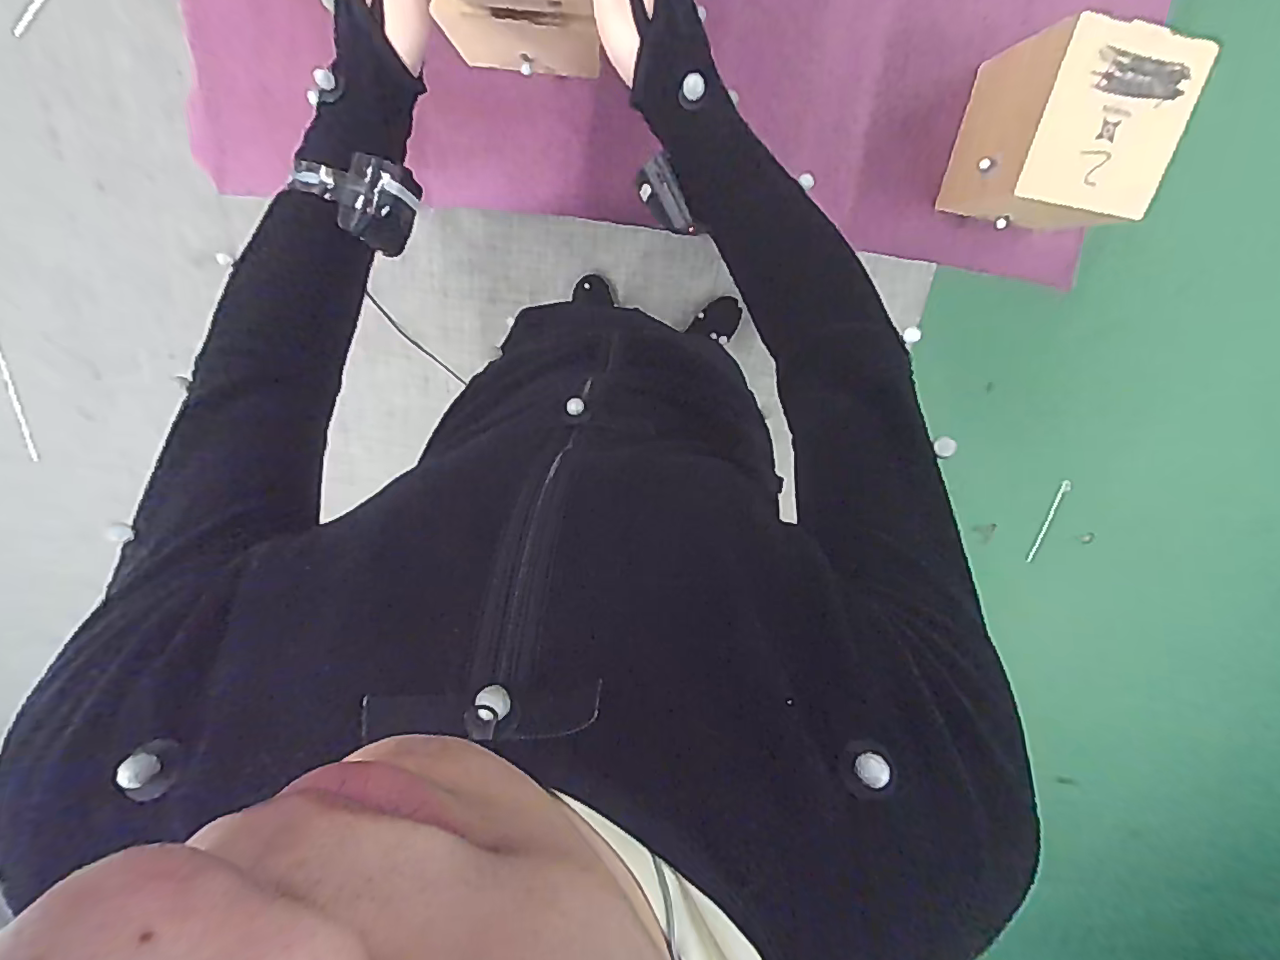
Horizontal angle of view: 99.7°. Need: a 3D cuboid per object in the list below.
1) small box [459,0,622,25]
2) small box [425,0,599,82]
[{"bbox_3d":[-0.089,-0.488,0.406,0.168,0.176,0.179,2,114,-4],"label":"small box"},{"bbox_3d":[-0.125,-0.562,0.577,0.168,0.176,0.179,3,113,-4],"label":"small box"}]
